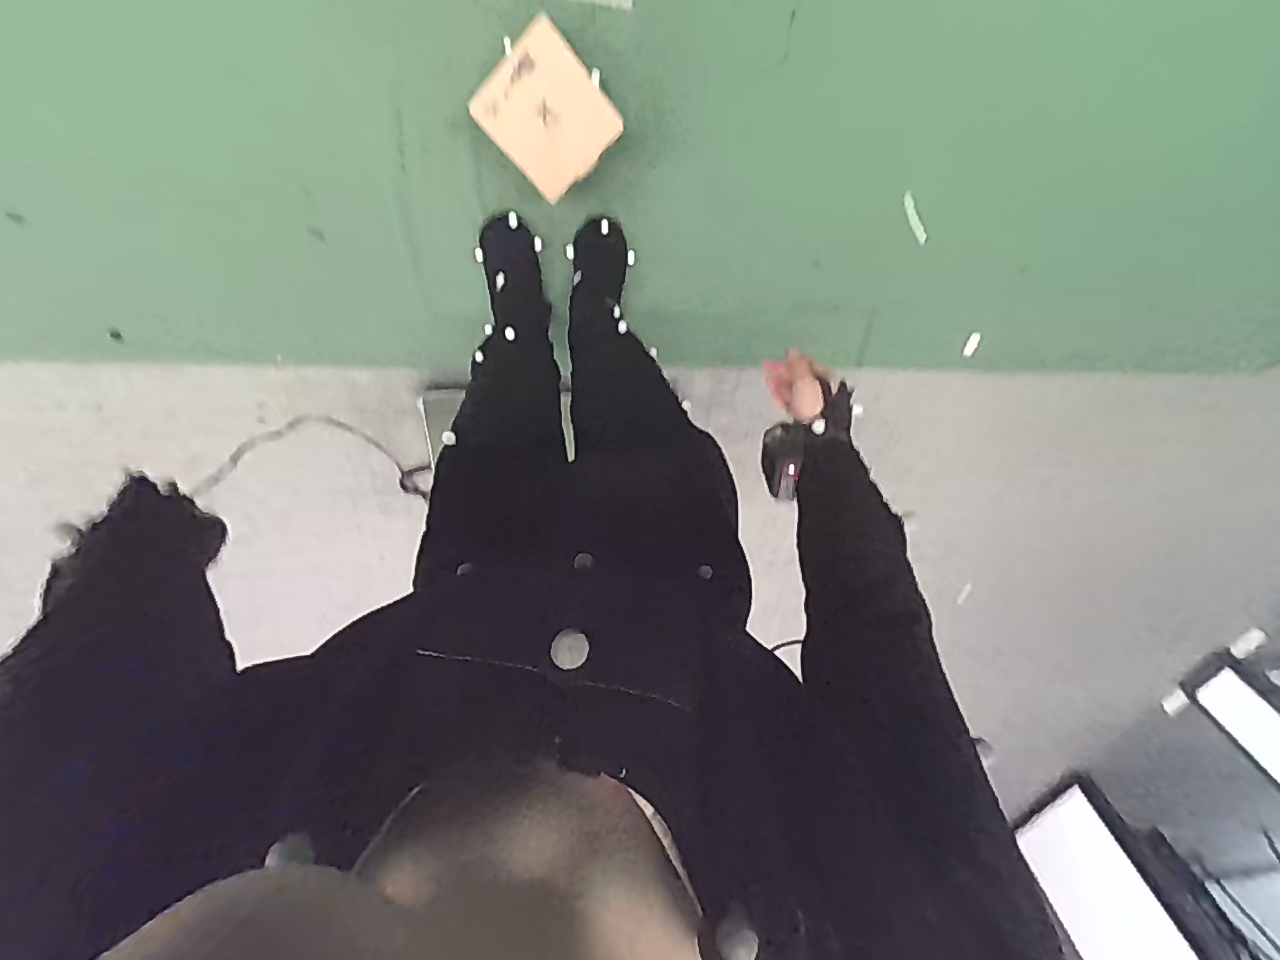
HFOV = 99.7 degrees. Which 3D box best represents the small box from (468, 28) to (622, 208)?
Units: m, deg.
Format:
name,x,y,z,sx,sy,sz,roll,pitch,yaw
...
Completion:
name,x,y,z,sx,sy,sz,roll,pitch,yaw
small box,-0.150,-0.590,0.883,0.168,0.176,0.179,-37,124,19
